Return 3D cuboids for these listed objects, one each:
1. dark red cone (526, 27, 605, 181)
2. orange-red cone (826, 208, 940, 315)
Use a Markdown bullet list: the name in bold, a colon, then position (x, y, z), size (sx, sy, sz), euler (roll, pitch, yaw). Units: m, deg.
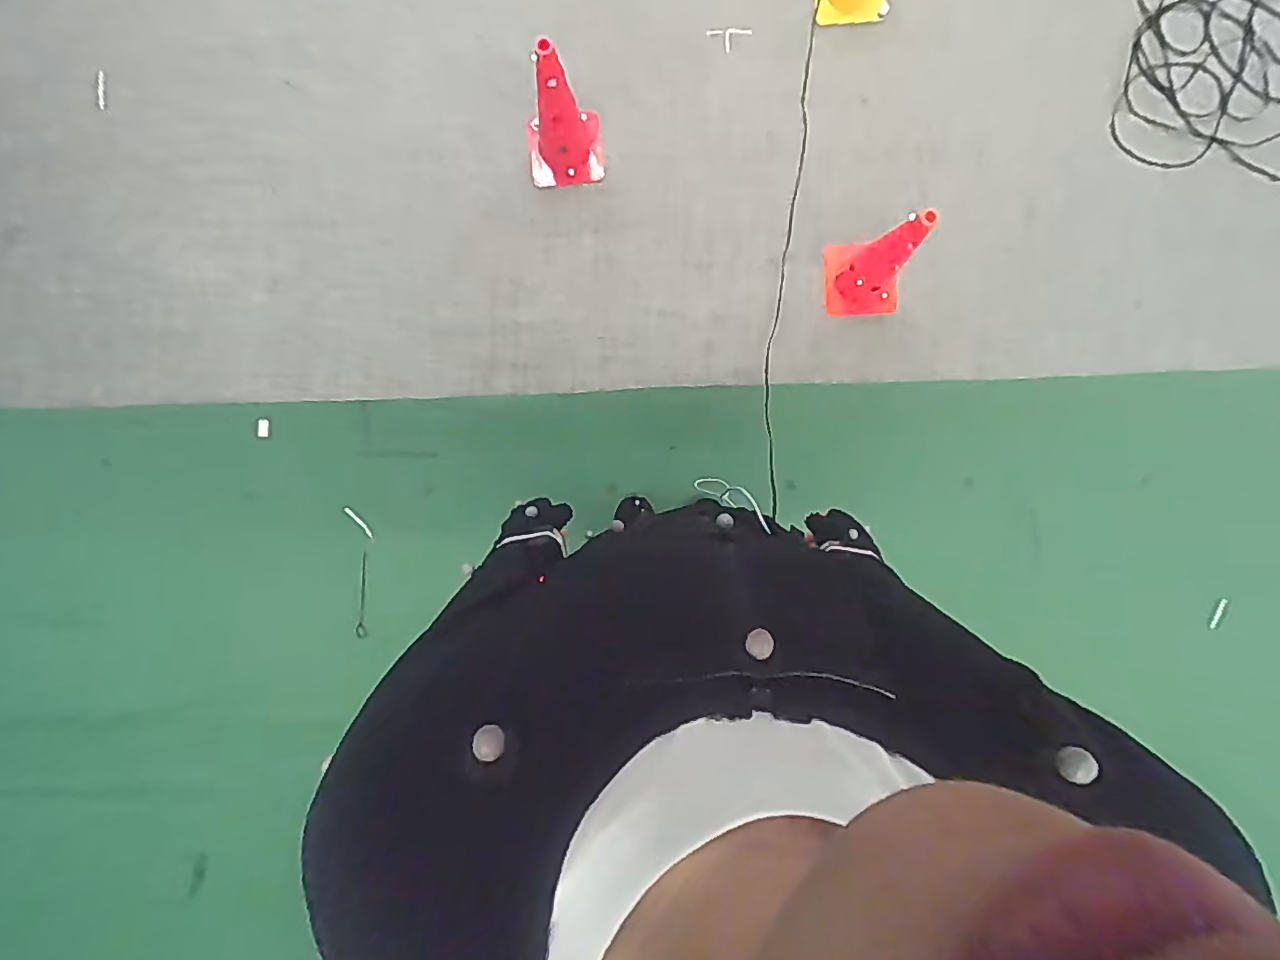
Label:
- **dark red cone**: position (-0.202, -0.917, 1.305), size (0.202, 0.394, 0.201), euler (-8, 90, 0)
- **orange-red cone**: position (0.618, -0.562, 1.328), size (0.198, 0.360, 0.199), euler (-2, 88, -1)
